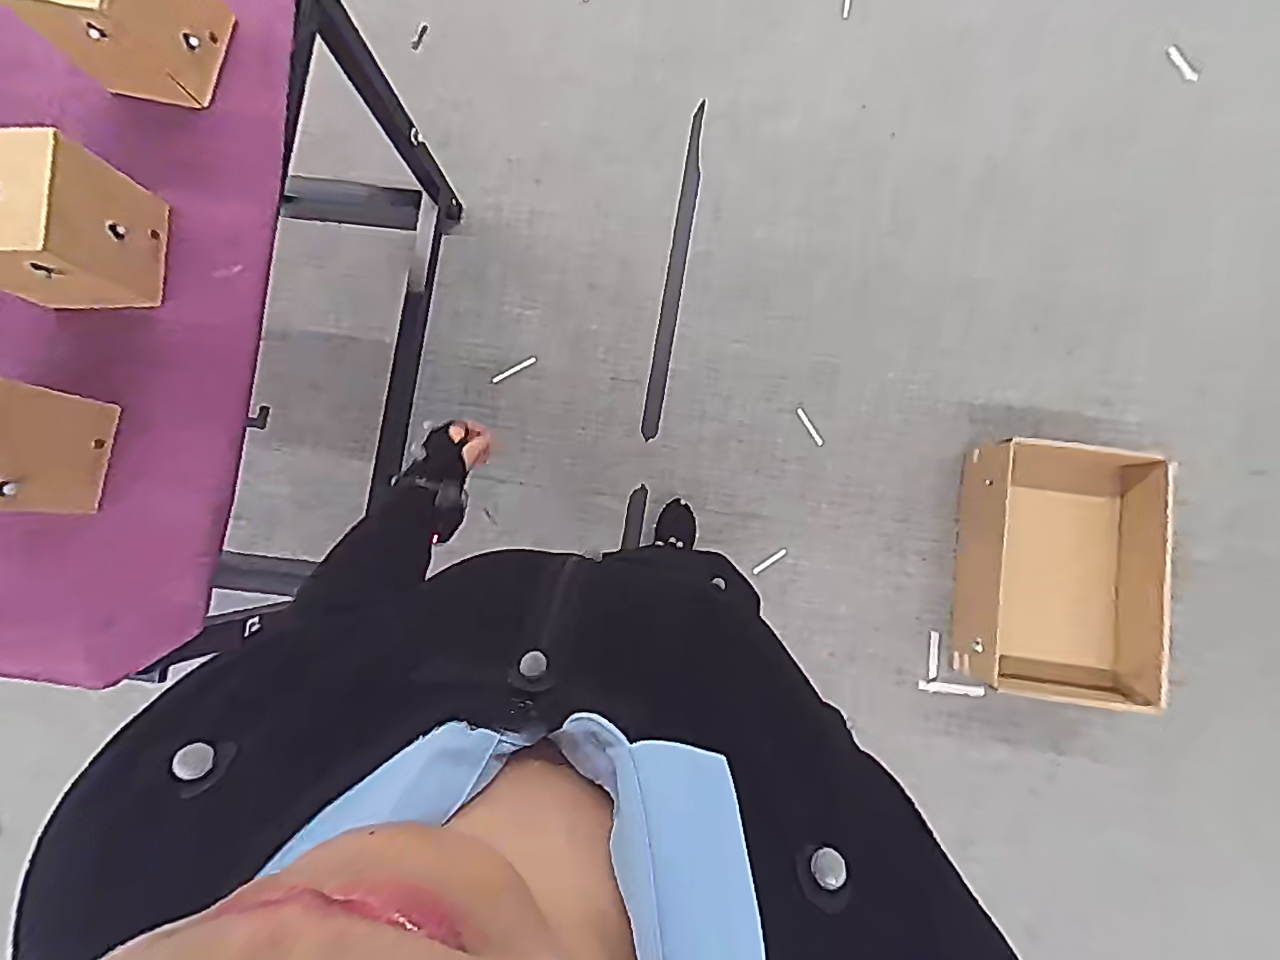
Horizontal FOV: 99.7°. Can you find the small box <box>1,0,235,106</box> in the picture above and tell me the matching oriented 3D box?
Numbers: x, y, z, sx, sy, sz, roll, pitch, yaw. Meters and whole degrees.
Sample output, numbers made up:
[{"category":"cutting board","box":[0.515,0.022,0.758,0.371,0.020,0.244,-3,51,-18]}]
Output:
[{"category":"small box","box":[-0.754,-0.689,0.788,0.179,0.176,0.168,12,85,4]}]

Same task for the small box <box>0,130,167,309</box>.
[{"category":"small box","box":[-0.817,-0.351,0.755,0.179,0.176,0.168,-1,84,2]}]
